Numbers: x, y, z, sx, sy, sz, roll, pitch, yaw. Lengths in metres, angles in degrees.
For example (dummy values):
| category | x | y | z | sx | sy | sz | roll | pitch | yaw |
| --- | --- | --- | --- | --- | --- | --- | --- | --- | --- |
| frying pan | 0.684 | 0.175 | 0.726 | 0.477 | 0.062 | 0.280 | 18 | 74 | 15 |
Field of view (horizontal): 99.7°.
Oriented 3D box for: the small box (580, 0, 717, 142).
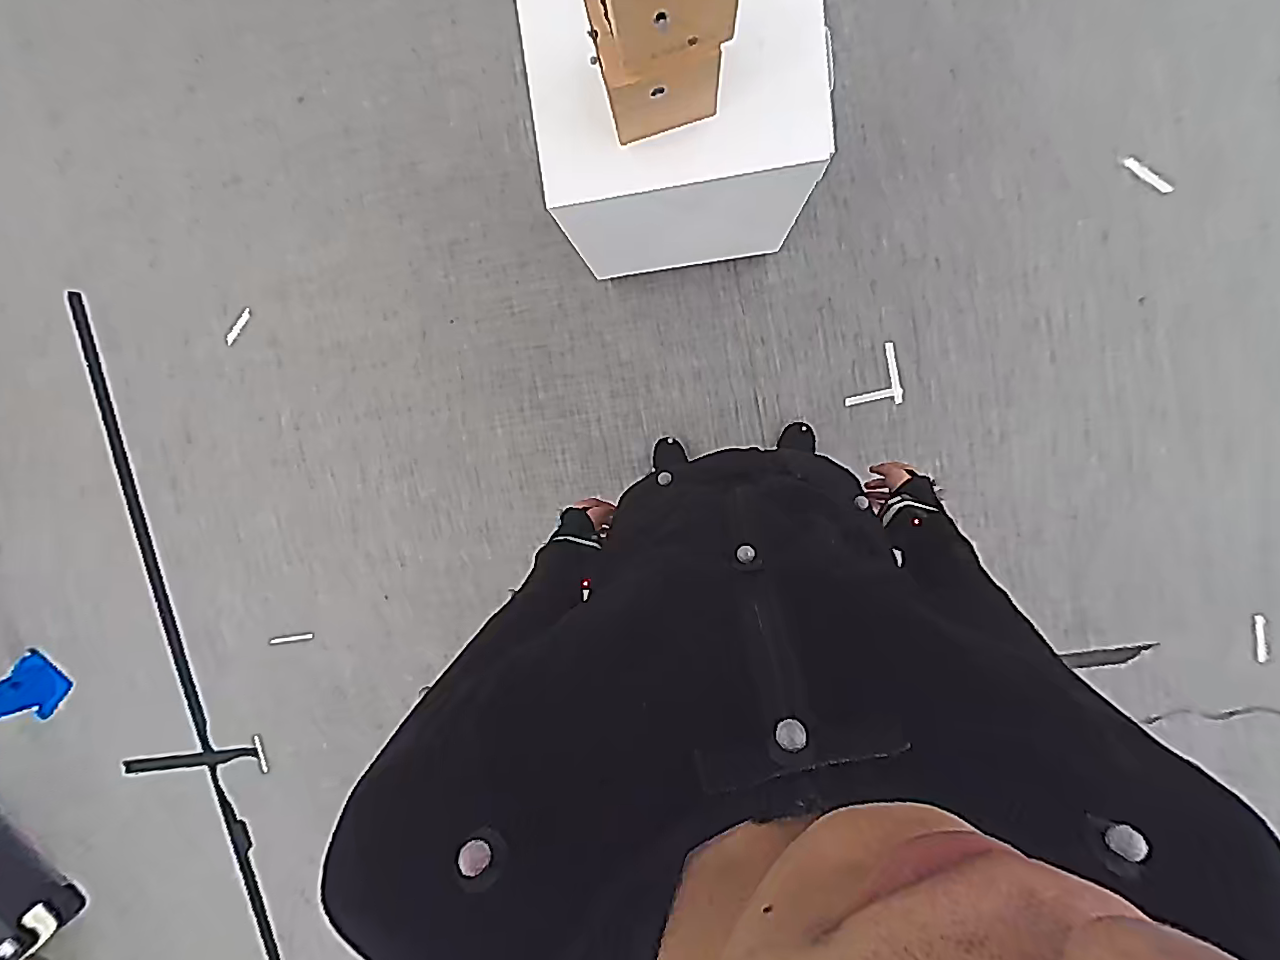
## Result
| category | x | y | z | sx | sy | sz | roll | pitch | yaw |
| --- | --- | --- | --- | --- | --- | --- | --- | --- | --- |
| small box | 0.018 | -0.680 | 0.862 | 0.179 | 0.176 | 0.168 | -15 | 96 | 6 |

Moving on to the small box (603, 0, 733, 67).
| category | x | y | z | sx | sy | sz | roll | pitch | yaw |
| --- | --- | --- | --- | --- | --- | --- | --- | --- | --- |
| small box | 0.025 | -0.681 | 0.697 | 0.168 | 0.176 | 0.179 | -13 | 95 | 6 |
